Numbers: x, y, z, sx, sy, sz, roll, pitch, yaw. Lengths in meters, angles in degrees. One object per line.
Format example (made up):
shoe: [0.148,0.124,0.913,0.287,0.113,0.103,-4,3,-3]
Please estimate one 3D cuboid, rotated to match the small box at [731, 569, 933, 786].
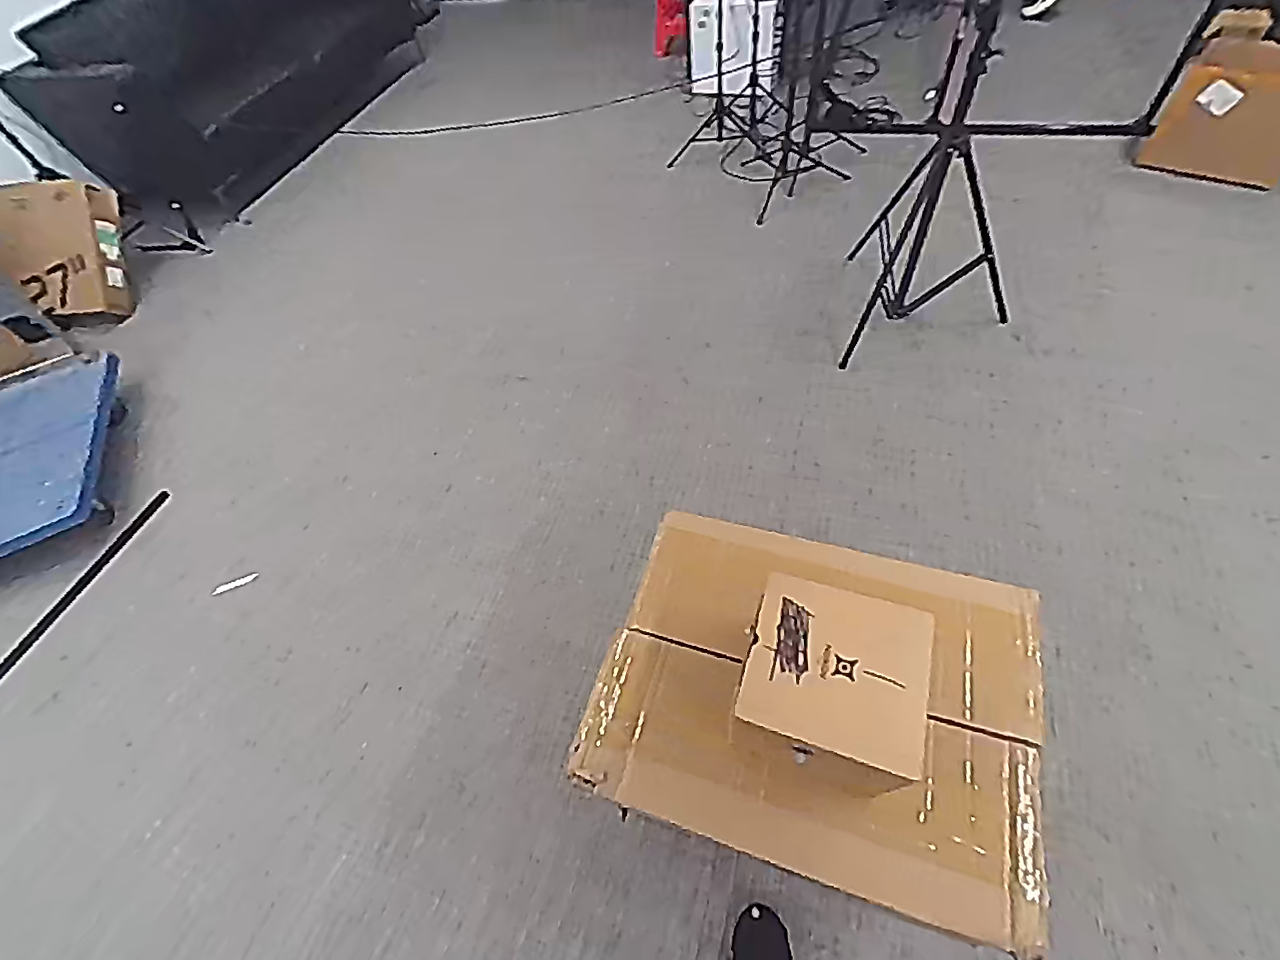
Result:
small box: [0.207,0.227,0.613,0.179,0.176,0.168,13,59,17]
